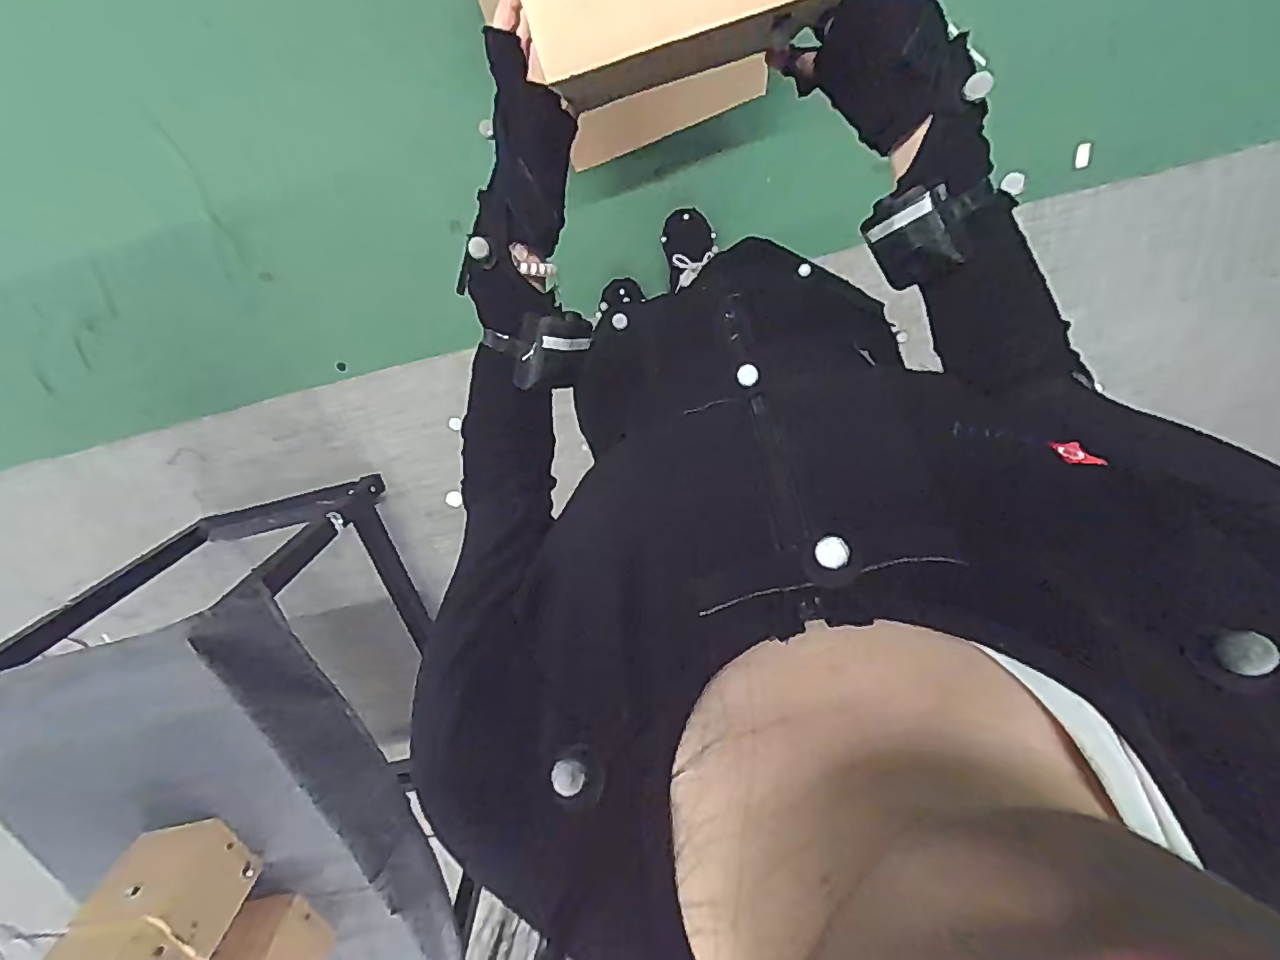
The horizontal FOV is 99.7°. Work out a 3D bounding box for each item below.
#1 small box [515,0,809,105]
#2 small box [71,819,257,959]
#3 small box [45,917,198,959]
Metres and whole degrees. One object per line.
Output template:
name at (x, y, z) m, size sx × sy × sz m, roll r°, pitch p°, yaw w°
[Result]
small box at (0.007, -0.342, 0.312) m, size 0.179 × 0.176 × 0.168 m, roll -15°, pitch 119°, yaw 7°
small box at (-0.873, 0.775, 1.020) m, size 0.179 × 0.176 × 0.168 m, roll -14°, pitch 113°, yaw 7°
small box at (-0.885, 0.855, 0.876) m, size 0.179 × 0.176 × 0.168 m, roll -16°, pitch 113°, yaw 6°
